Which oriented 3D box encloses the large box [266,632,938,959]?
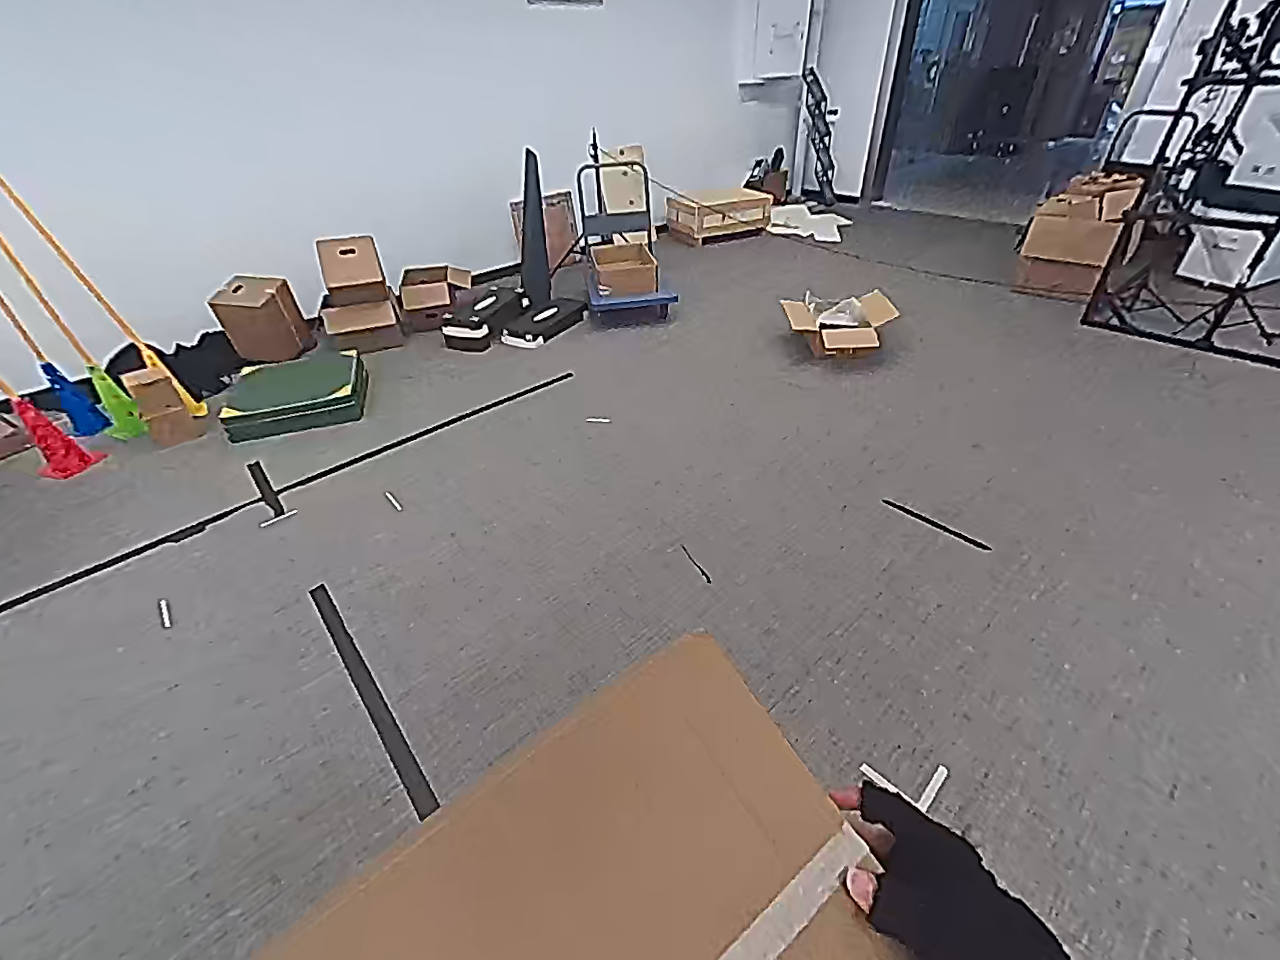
[{"bbox_3d":[-0.053,0.382,0.405,0.408,0.320,0.320,-32,76,-22],"label":"large box"}]
